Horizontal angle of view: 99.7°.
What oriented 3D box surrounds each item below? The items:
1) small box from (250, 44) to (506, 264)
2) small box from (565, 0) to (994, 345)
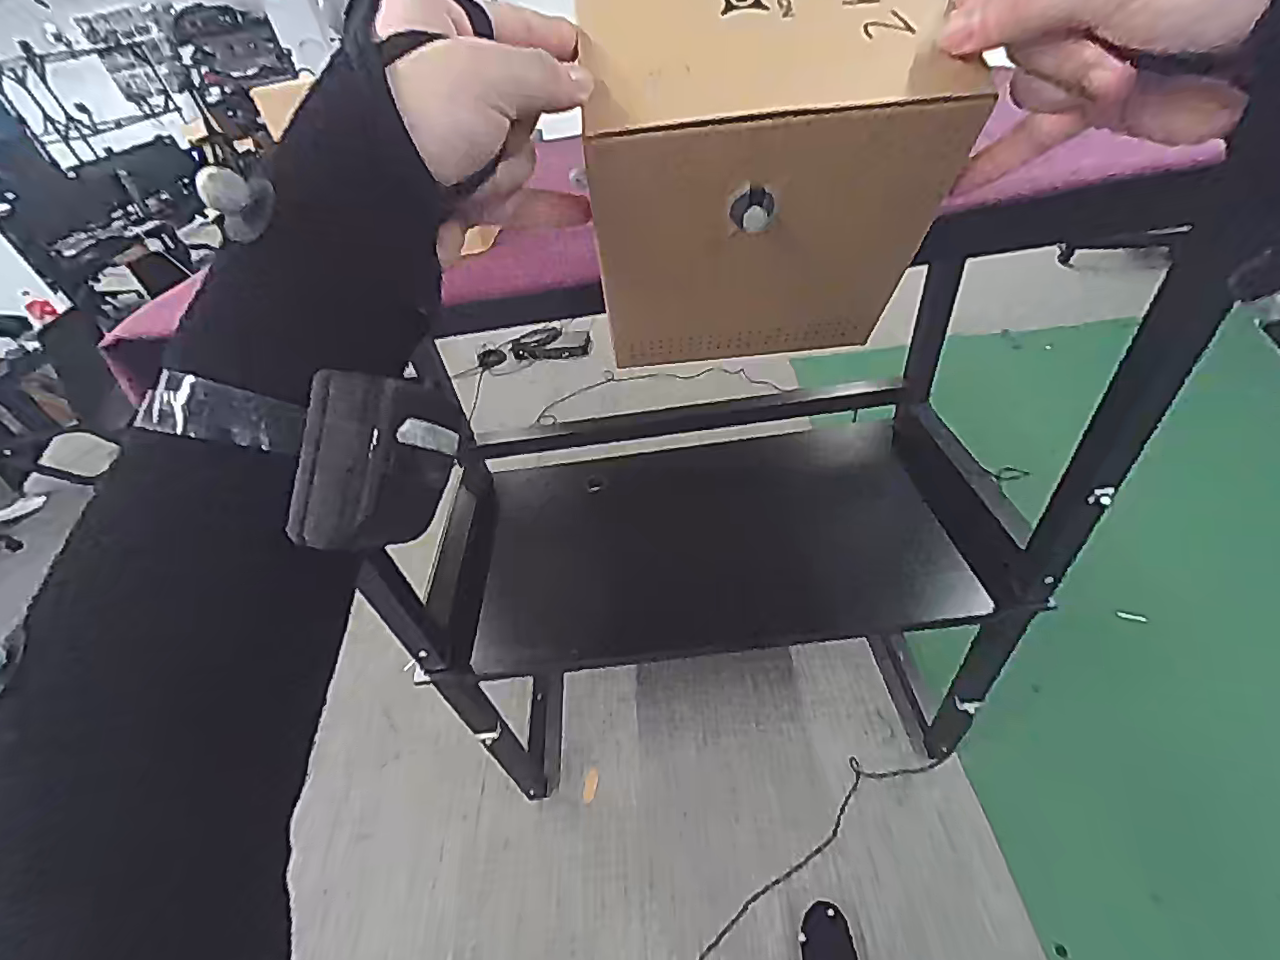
[{"bbox_3d":[-0.256,-0.346,0.585,0.168,0.176,0.179,-7,40,4],"label":"small box"},{"bbox_3d":[0.056,-0.198,0.323,0.179,0.176,0.168,-5,67,1],"label":"small box"}]
